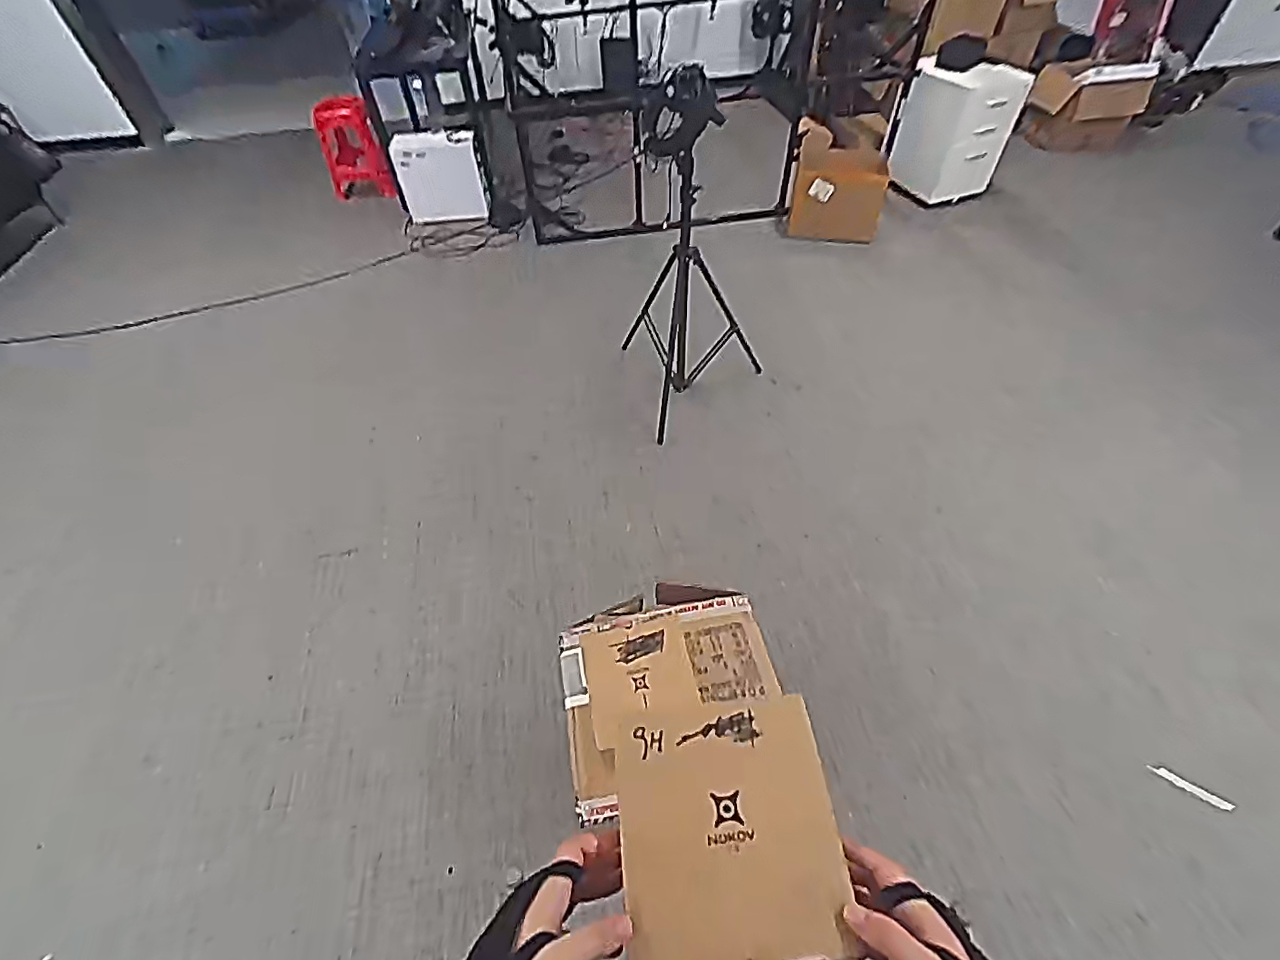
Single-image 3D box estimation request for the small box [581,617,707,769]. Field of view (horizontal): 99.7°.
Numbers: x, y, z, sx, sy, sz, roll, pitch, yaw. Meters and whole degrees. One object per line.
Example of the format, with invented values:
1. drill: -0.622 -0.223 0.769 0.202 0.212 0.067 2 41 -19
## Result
1. small box: 0.003 0.350 0.884 0.168 0.176 0.179 -11 55 -5
